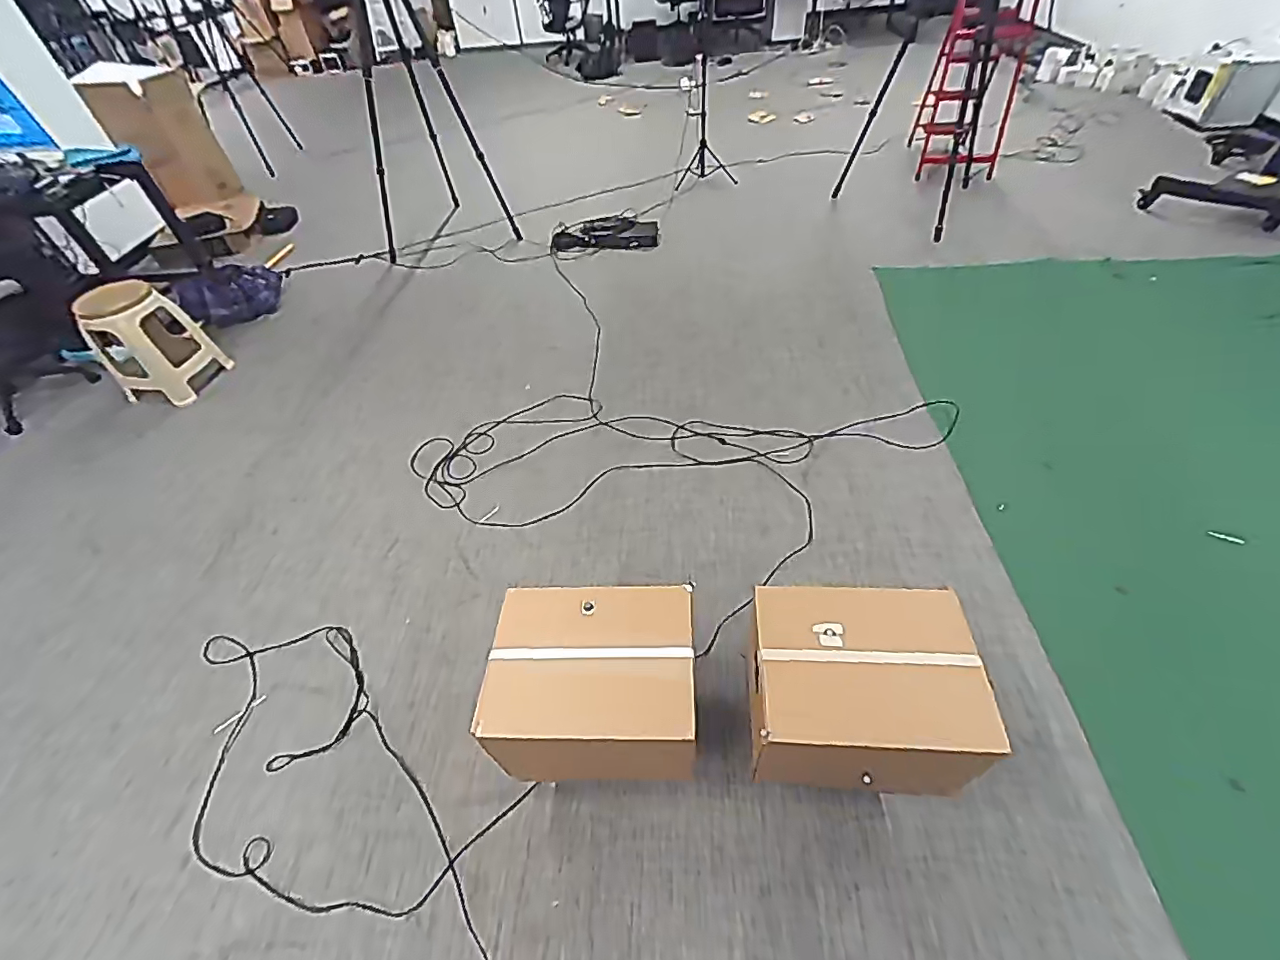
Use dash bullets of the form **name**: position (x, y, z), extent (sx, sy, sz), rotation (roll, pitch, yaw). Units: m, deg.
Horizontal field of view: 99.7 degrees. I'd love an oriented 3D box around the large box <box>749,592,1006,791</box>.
- **large box**: position (0.450, 0.450, 1.144), extent (0.408, 0.320, 0.320), rotation (0, 48, 7)
